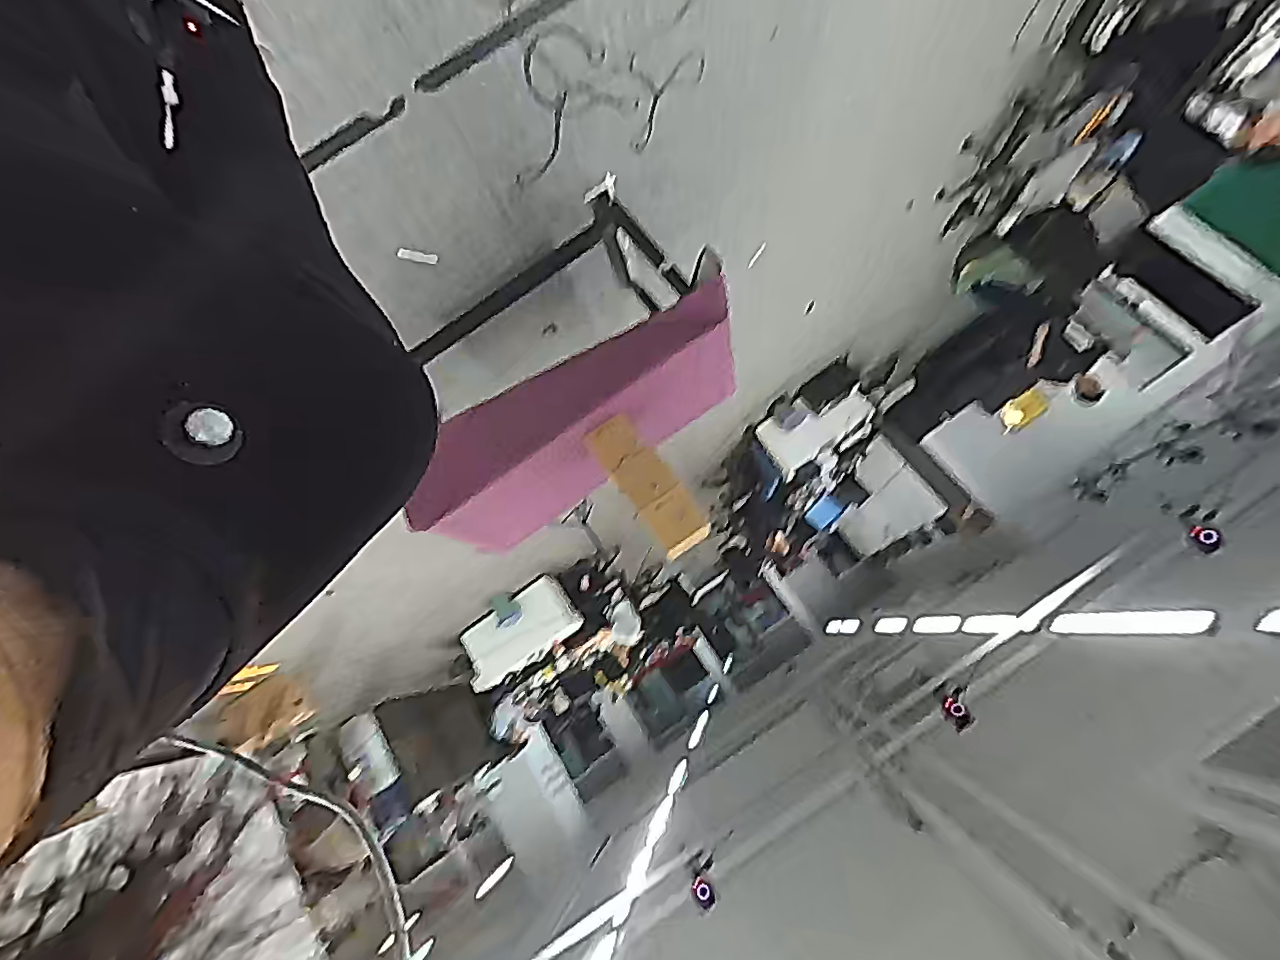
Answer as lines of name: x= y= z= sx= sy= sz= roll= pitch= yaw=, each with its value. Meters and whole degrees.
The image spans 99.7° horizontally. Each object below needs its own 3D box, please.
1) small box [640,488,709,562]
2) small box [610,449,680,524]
small box: x=0.114 y=0.148 z=1.802 sx=0.168 sy=0.176 sz=0.179 roll=-35 pitch=163 yaw=-3
small box: x=0.021 y=0.021 z=1.847 sx=0.179 sy=0.176 sz=0.168 roll=-34 pitch=161 yaw=-3
